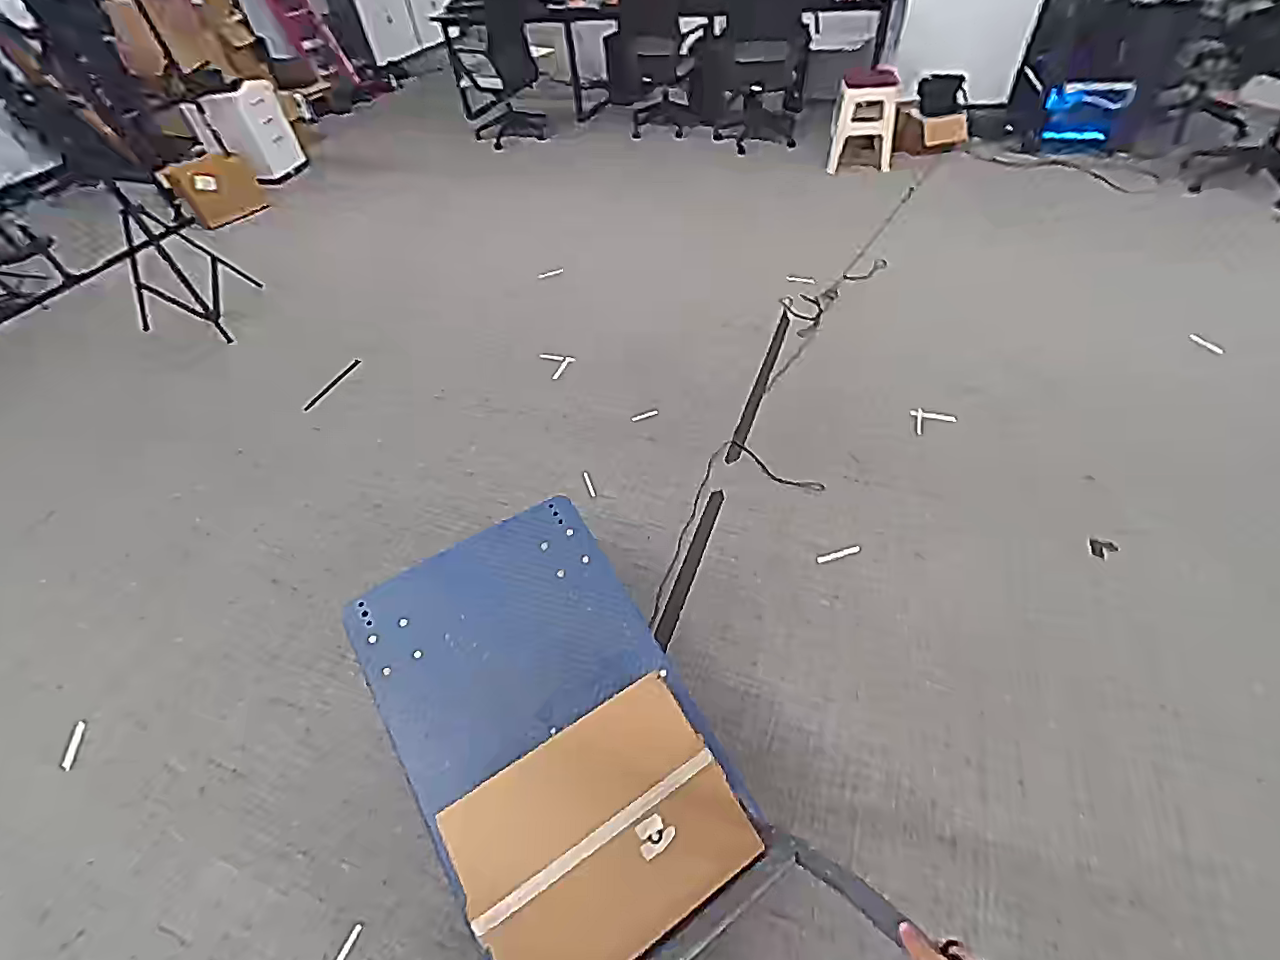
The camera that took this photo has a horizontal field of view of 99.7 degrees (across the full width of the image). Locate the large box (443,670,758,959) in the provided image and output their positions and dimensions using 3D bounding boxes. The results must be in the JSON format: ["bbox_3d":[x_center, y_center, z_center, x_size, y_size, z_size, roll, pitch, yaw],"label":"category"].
[{"bbox_3d":[-0.072,0.604,0.967,0.408,0.320,0.320,-29,72,-18],"label":"large box"}]
